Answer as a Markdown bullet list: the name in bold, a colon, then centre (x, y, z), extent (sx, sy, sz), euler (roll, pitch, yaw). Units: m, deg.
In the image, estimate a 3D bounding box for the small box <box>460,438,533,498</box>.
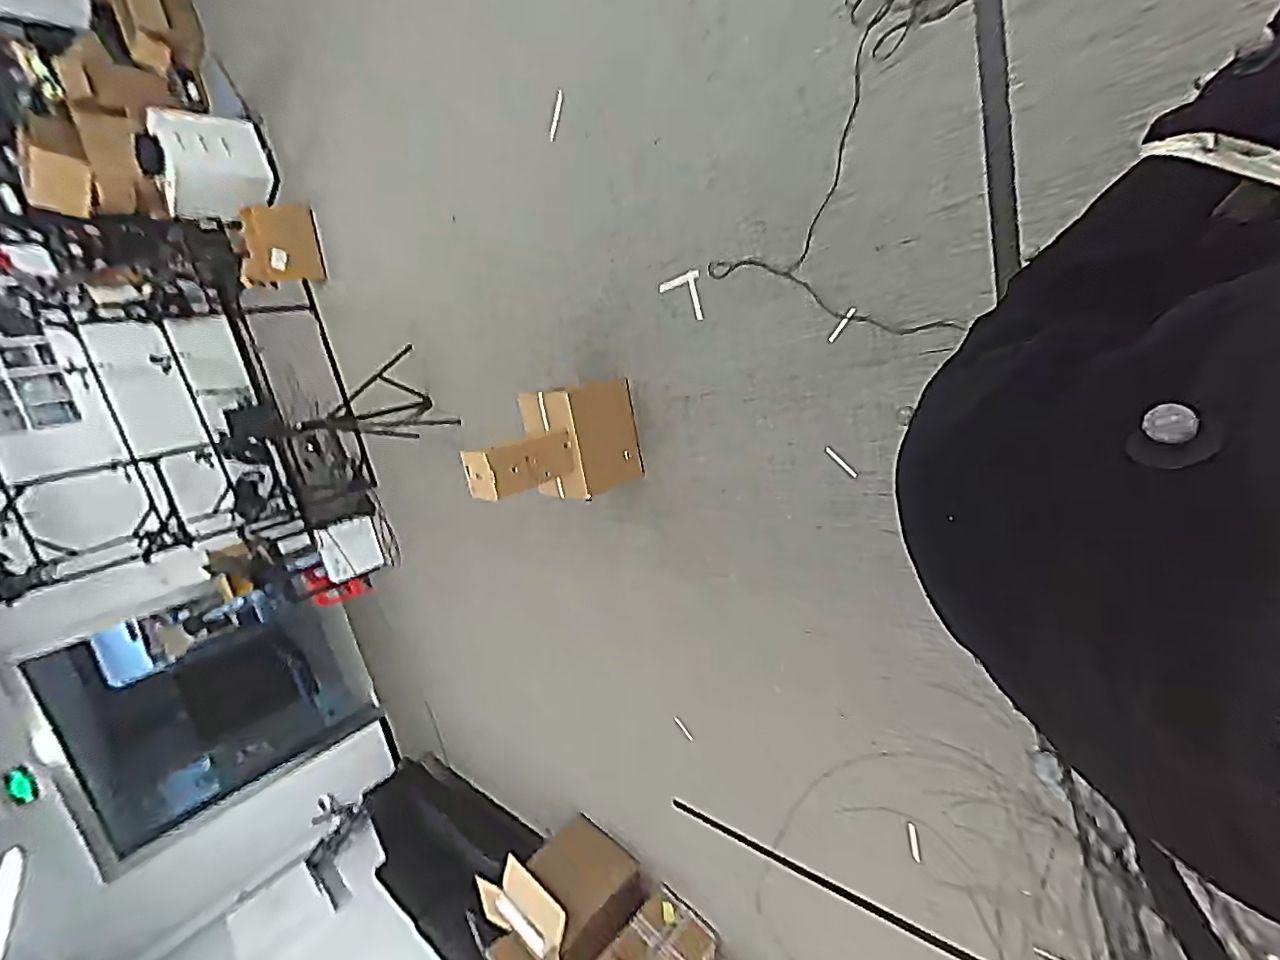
- **small box**: centre (-0.486, -0.046, 1.860), extent (0.179, 0.176, 0.168), euler (4, 110, 43)
